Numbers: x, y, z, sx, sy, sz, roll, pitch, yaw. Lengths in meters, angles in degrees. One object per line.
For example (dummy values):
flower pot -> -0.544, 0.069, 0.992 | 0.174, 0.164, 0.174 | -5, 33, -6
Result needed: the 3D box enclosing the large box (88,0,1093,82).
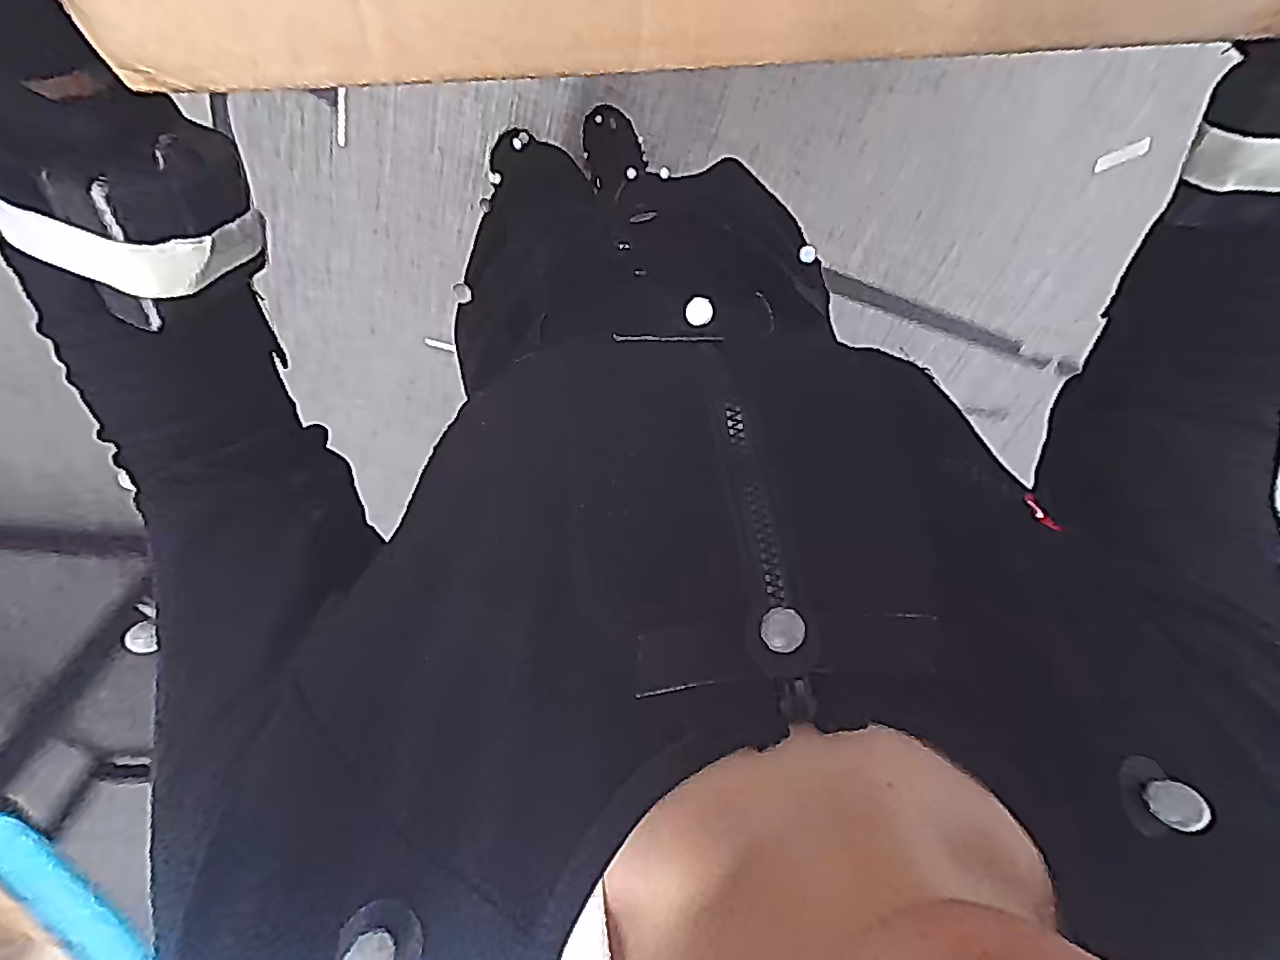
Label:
large box -> 0.010, -0.360, 0.127 | 0.408, 0.320, 0.320 | -6, 150, -2
